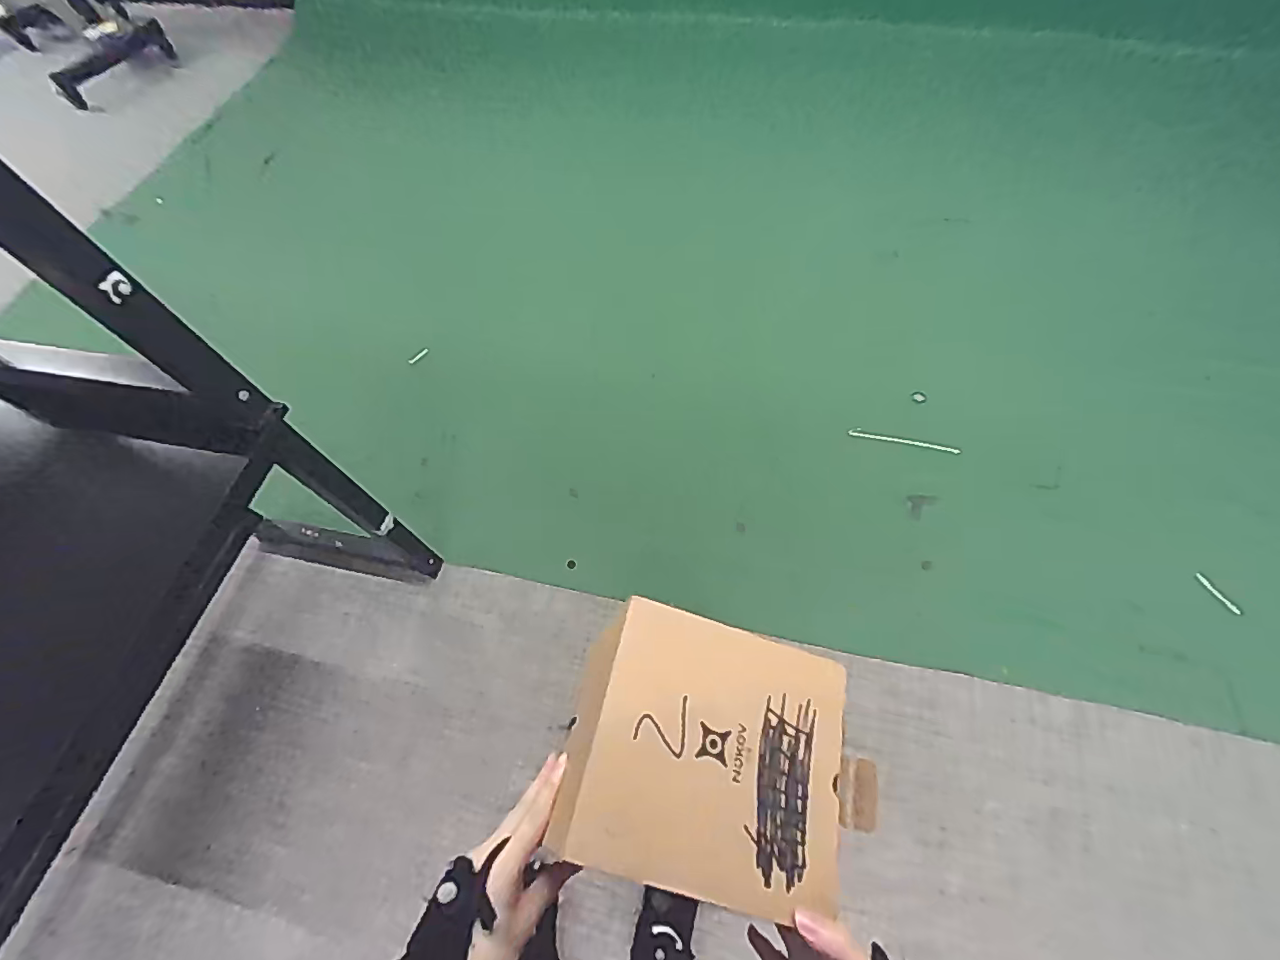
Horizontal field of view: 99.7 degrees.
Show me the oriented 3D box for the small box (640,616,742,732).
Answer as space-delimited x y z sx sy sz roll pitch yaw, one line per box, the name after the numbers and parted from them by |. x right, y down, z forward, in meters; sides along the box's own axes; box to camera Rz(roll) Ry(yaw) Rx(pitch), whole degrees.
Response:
0.104 0.400 1.100 0.168 0.176 0.179 12 63 9 | small box
